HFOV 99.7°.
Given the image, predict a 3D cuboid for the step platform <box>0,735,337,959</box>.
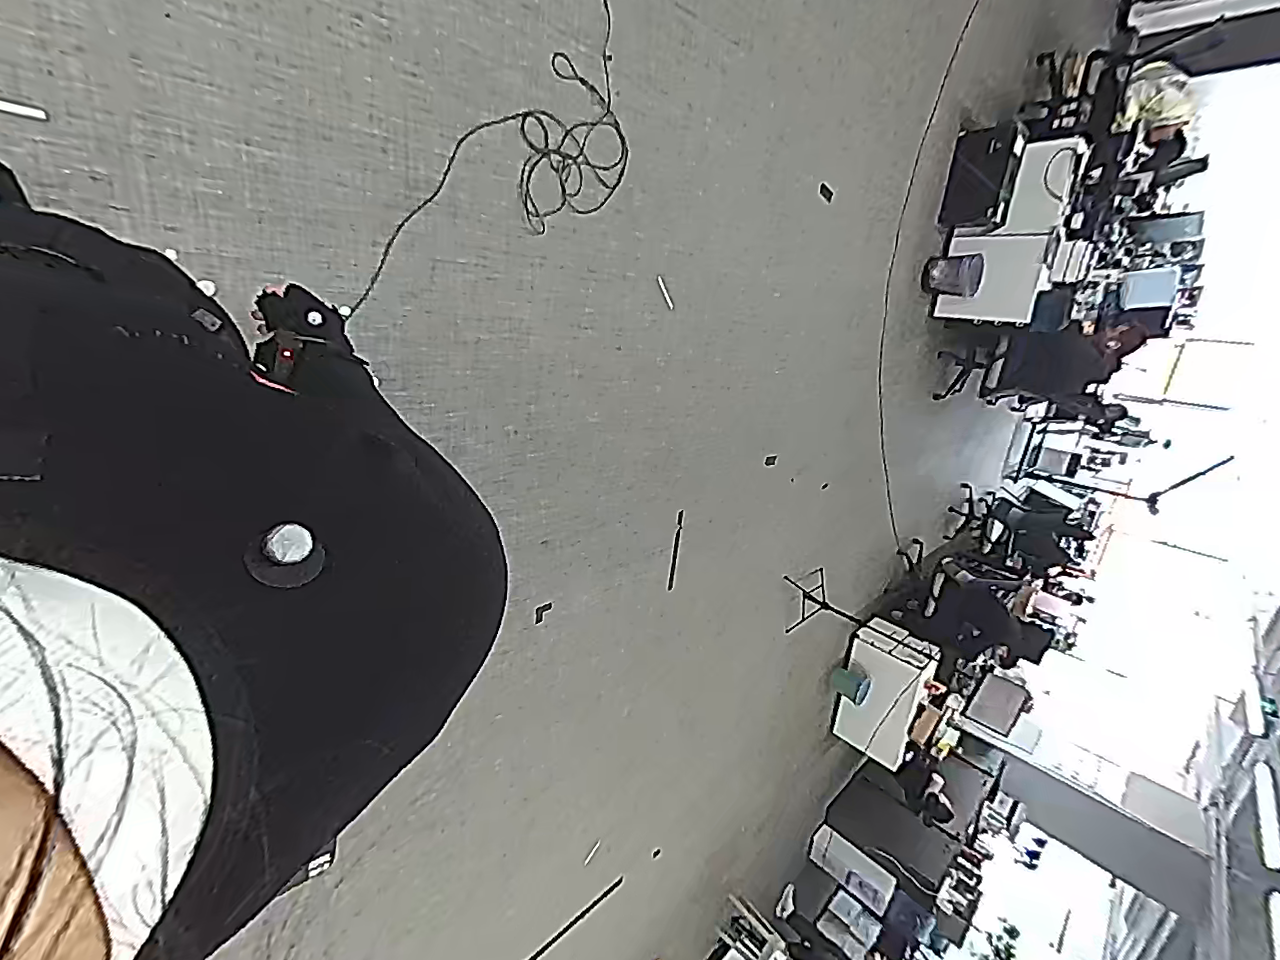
[{"bbox_3d":[-1.114,0.915,1.286,0.684,0.204,0.286,-13,115,-42],"label":"step platform"}]
